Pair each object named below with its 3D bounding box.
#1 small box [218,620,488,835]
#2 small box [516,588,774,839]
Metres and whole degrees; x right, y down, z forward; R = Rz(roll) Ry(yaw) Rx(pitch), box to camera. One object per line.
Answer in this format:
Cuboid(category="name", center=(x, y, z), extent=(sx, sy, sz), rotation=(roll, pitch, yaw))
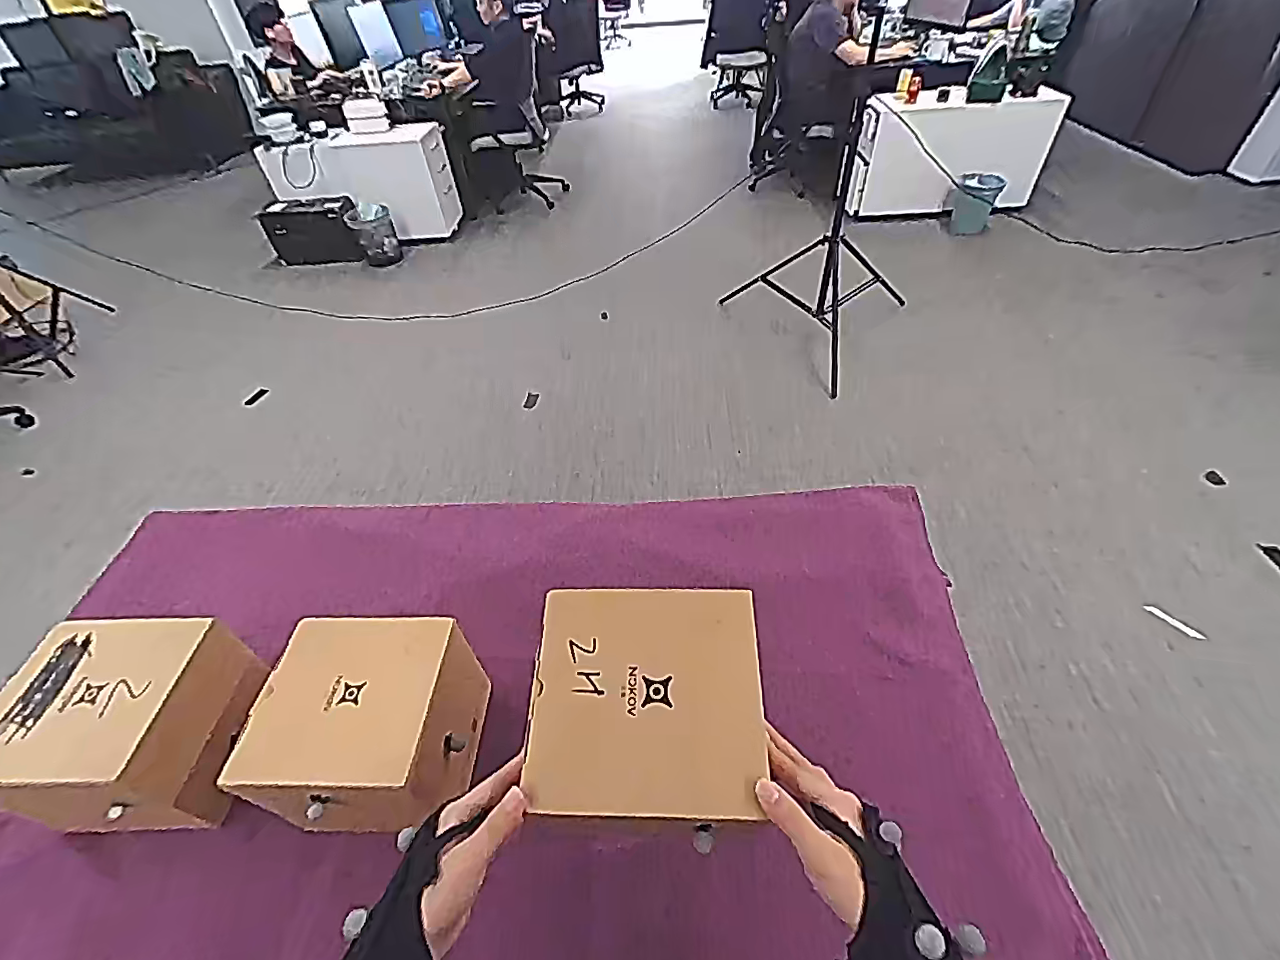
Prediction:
Cuboid(category="small box", center=(-0.279, 0.267, 0.582), extent=(0.179, 0.176, 0.168), rotation=(-1, 45, 4))
Cuboid(category="small box", center=(0.010, 0.206, 0.471), extent=(0.179, 0.176, 0.168), rotation=(-1, 52, 4))
